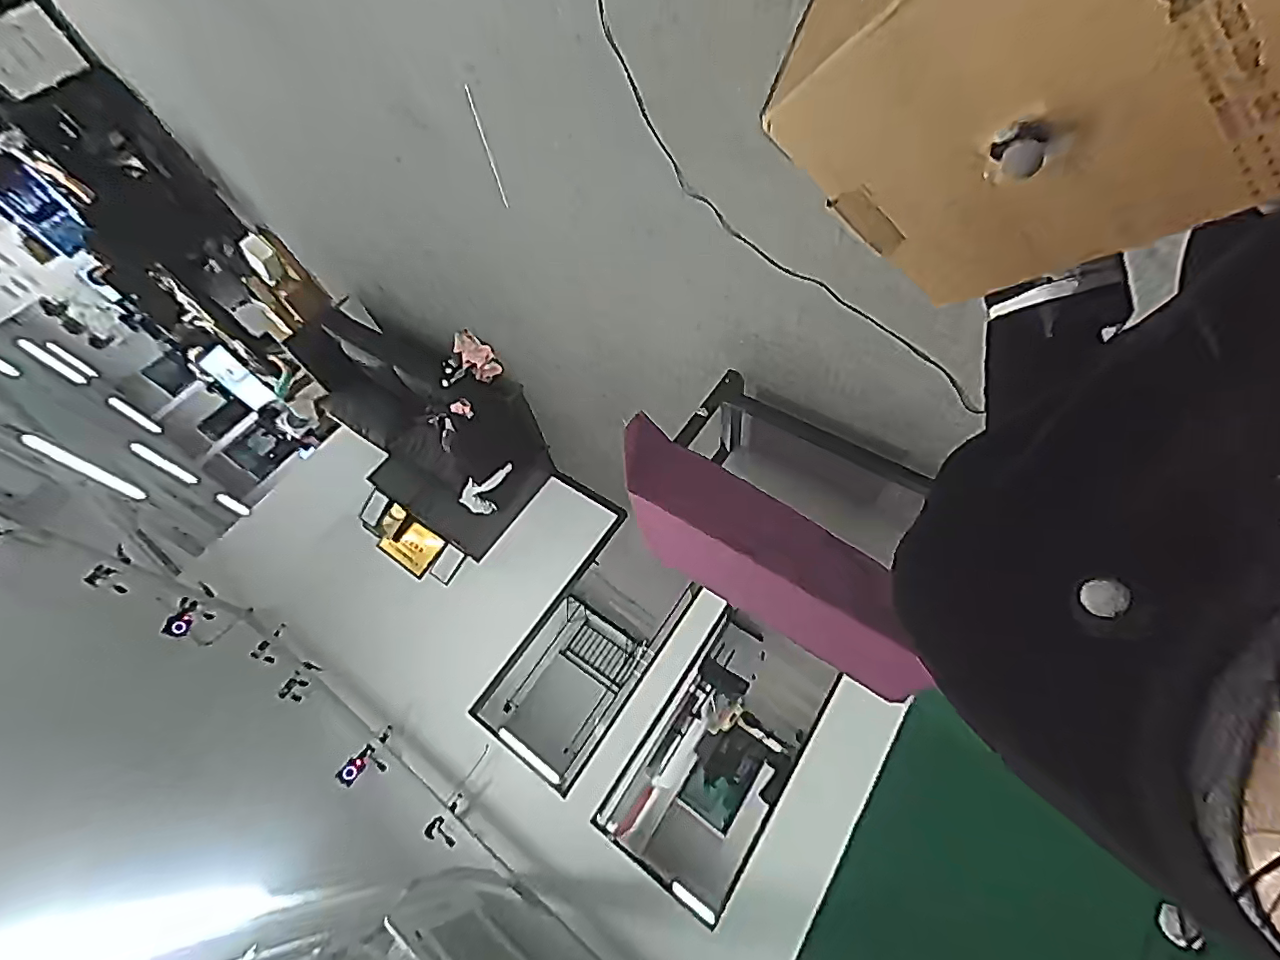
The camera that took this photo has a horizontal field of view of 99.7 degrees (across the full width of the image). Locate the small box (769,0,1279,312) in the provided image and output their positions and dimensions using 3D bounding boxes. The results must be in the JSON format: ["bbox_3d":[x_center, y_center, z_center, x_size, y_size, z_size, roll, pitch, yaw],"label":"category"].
[{"bbox_3d":[0.202,-0.223,0.273,0.168,0.179,0.176,29,164,-27],"label":"small box"}]
